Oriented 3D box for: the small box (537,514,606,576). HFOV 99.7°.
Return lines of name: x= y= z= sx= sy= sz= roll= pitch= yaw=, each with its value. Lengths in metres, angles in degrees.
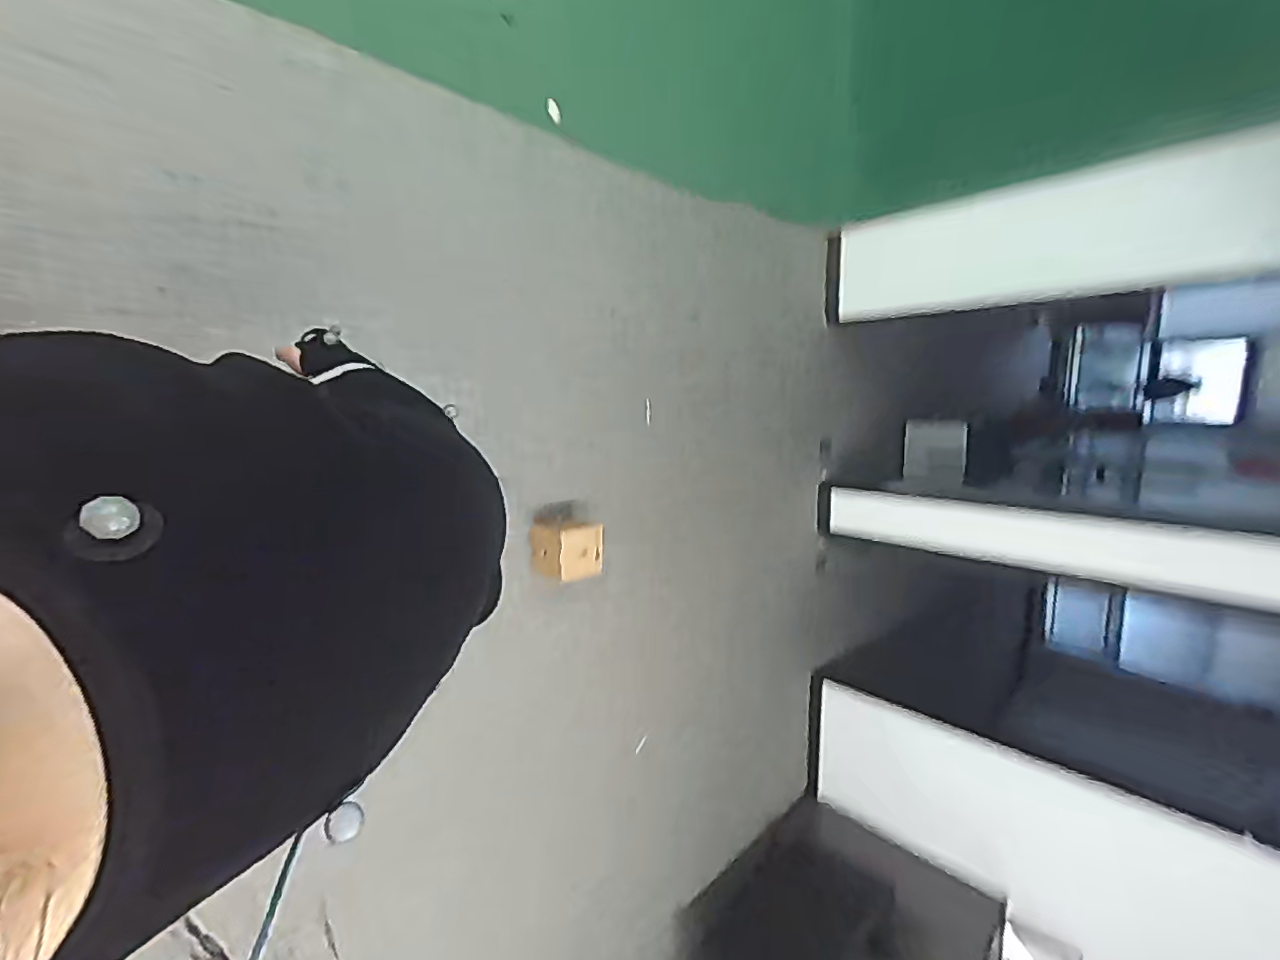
small box: x=-0.234 y=0.213 z=1.818 sx=0.179 sy=0.176 sz=0.168 roll=-6 pitch=101 yaw=-43
